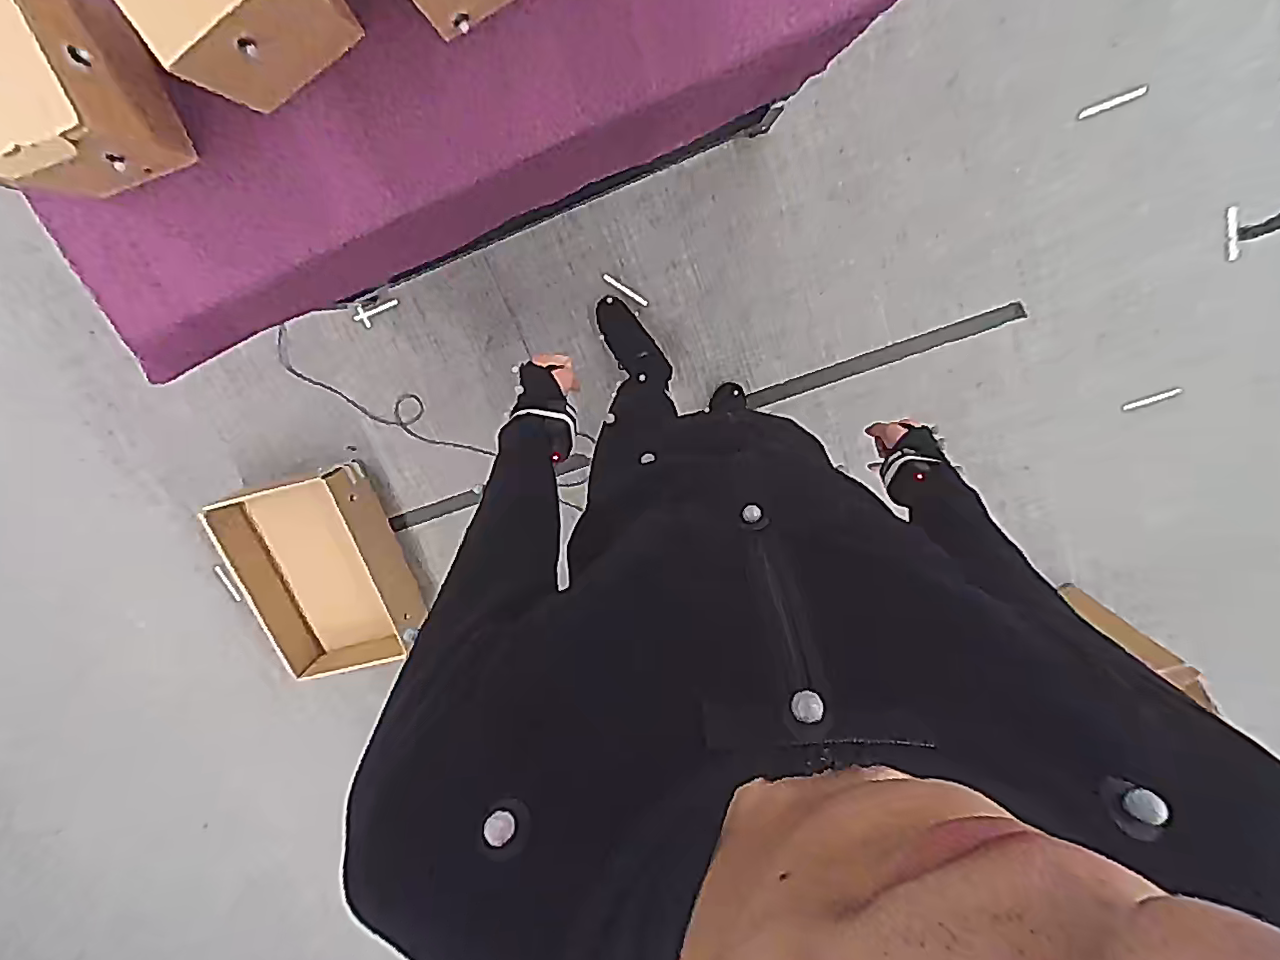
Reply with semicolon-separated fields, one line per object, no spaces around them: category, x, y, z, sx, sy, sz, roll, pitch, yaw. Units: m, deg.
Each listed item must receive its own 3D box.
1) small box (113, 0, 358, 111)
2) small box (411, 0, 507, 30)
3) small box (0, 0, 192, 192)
small box;-0.467;-0.563;0.610;0.179;0.176;0.168;-29;107;10
small box;-0.214;-0.638;0.582;0.168;0.176;0.179;-24;106;9
small box;-0.705;-0.464;0.648;0.168;0.176;0.179;-16;108;5
